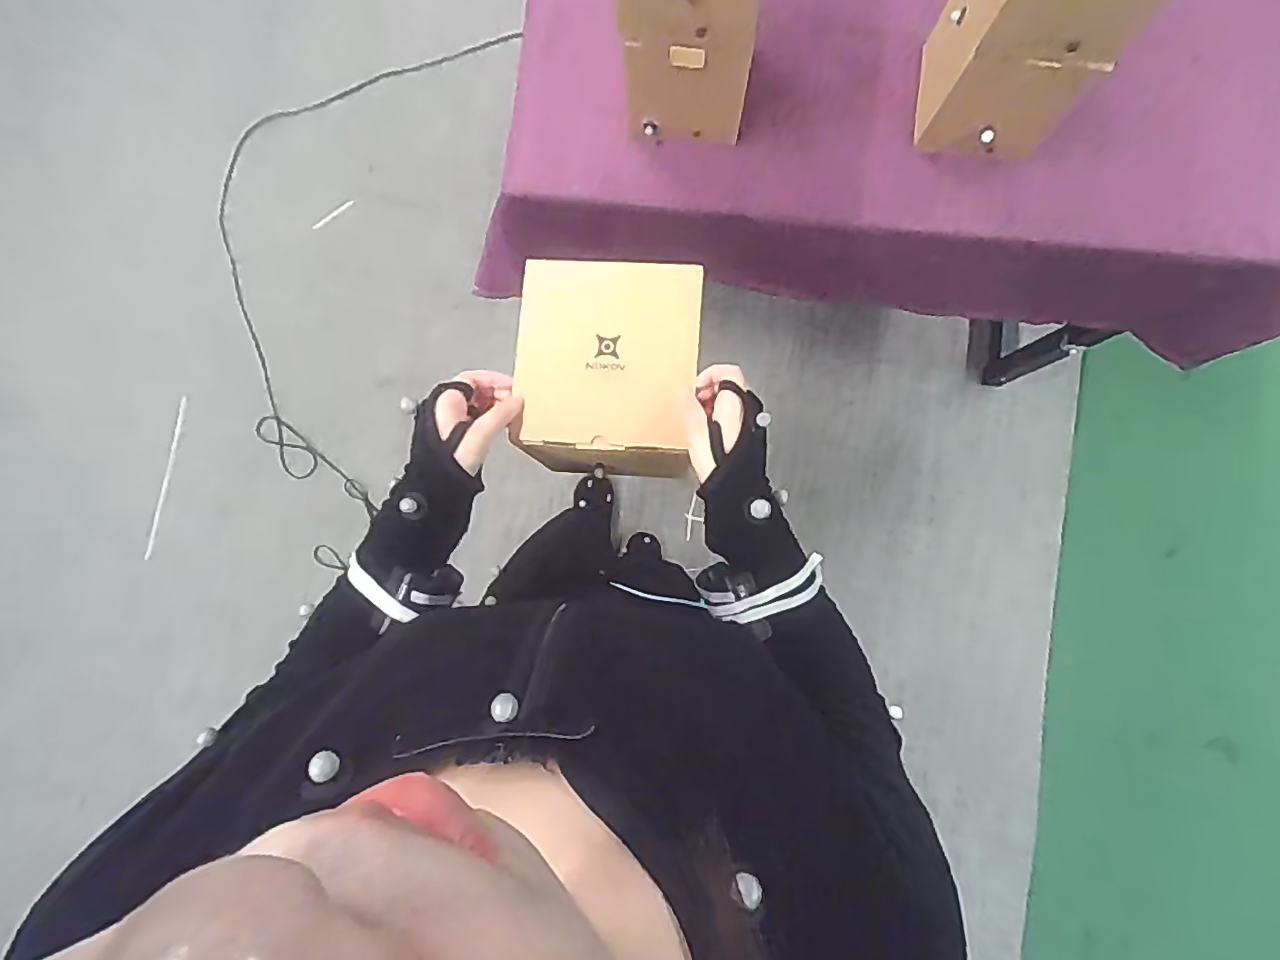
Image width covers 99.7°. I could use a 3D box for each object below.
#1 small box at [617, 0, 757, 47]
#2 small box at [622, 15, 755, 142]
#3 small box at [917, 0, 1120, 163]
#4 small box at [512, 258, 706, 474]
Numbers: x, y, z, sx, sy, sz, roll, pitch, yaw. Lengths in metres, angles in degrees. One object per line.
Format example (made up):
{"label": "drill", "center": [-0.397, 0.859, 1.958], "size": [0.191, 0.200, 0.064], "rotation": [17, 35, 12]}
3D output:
{"label": "small box", "center": [0.061, -0.629, 0.596], "size": [0.168, 0.176, 0.179], "rotation": [8, 86, 2]}
{"label": "small box", "center": [0.070, -0.612, 0.759], "size": [0.168, 0.176, 0.179], "rotation": [6, 84, 2]}
{"label": "small box", "center": [0.502, -0.577, 0.738], "size": [0.168, 0.176, 0.179], "rotation": [9, 85, 4]}
{"label": "small box", "center": [-0.025, -0.106, 0.568], "size": [0.168, 0.176, 0.179], "rotation": [4, 85, 3]}
